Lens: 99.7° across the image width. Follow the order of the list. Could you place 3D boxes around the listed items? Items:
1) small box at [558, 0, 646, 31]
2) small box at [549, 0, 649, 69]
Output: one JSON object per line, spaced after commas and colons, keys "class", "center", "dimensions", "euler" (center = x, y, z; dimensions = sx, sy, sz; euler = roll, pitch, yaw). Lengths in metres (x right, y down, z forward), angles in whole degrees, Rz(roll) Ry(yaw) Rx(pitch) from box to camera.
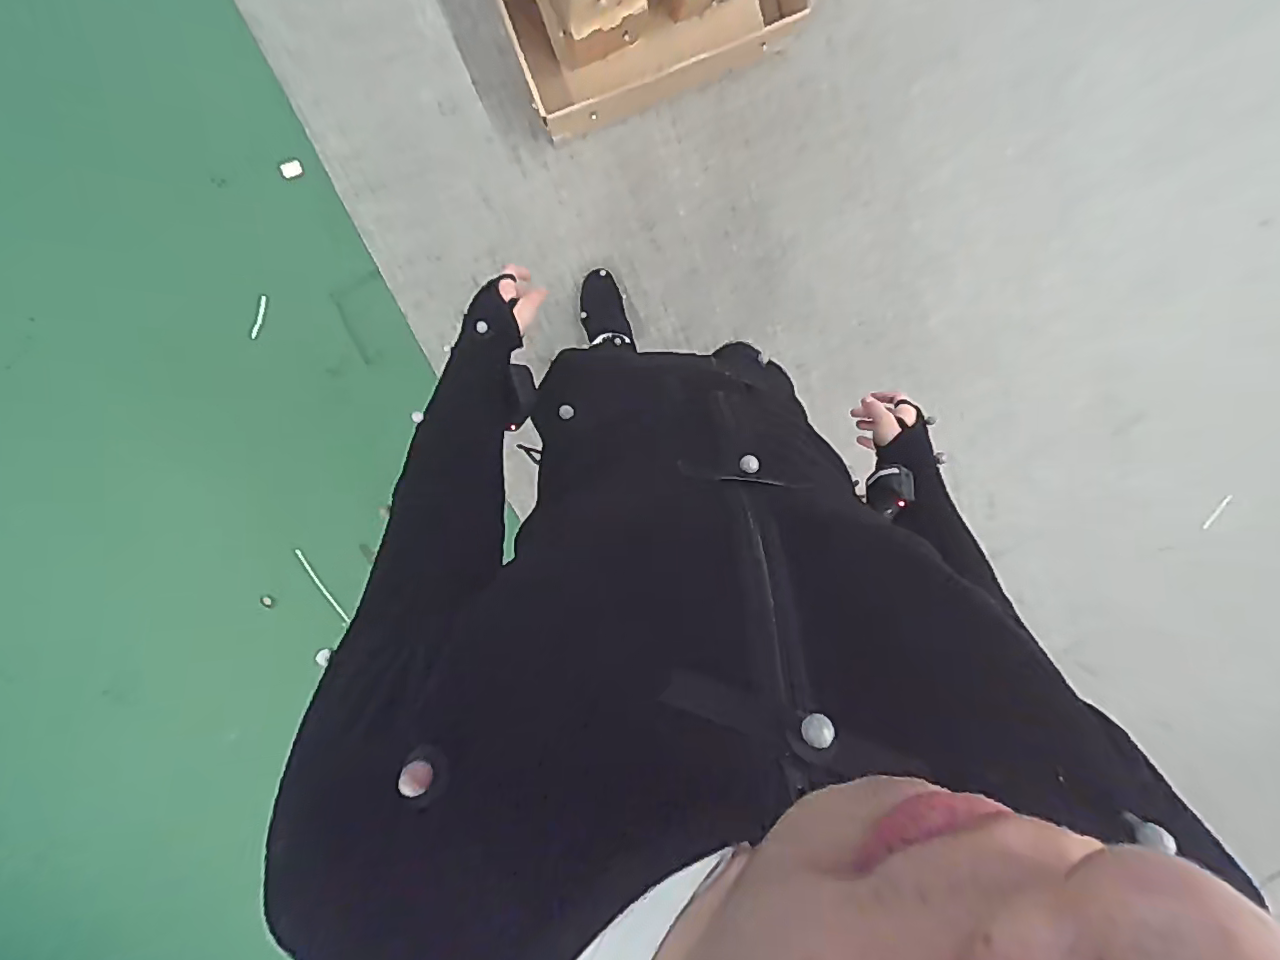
{"class": "small box", "center": [-0.082, -0.963, 0.978], "dimensions": [0.168, 0.176, 0.179], "euler": [-24, 110, 2]}
{"class": "small box", "center": [-0.093, -1.005, 1.135], "dimensions": [0.168, 0.176, 0.179], "euler": [-23, 110, 1]}
